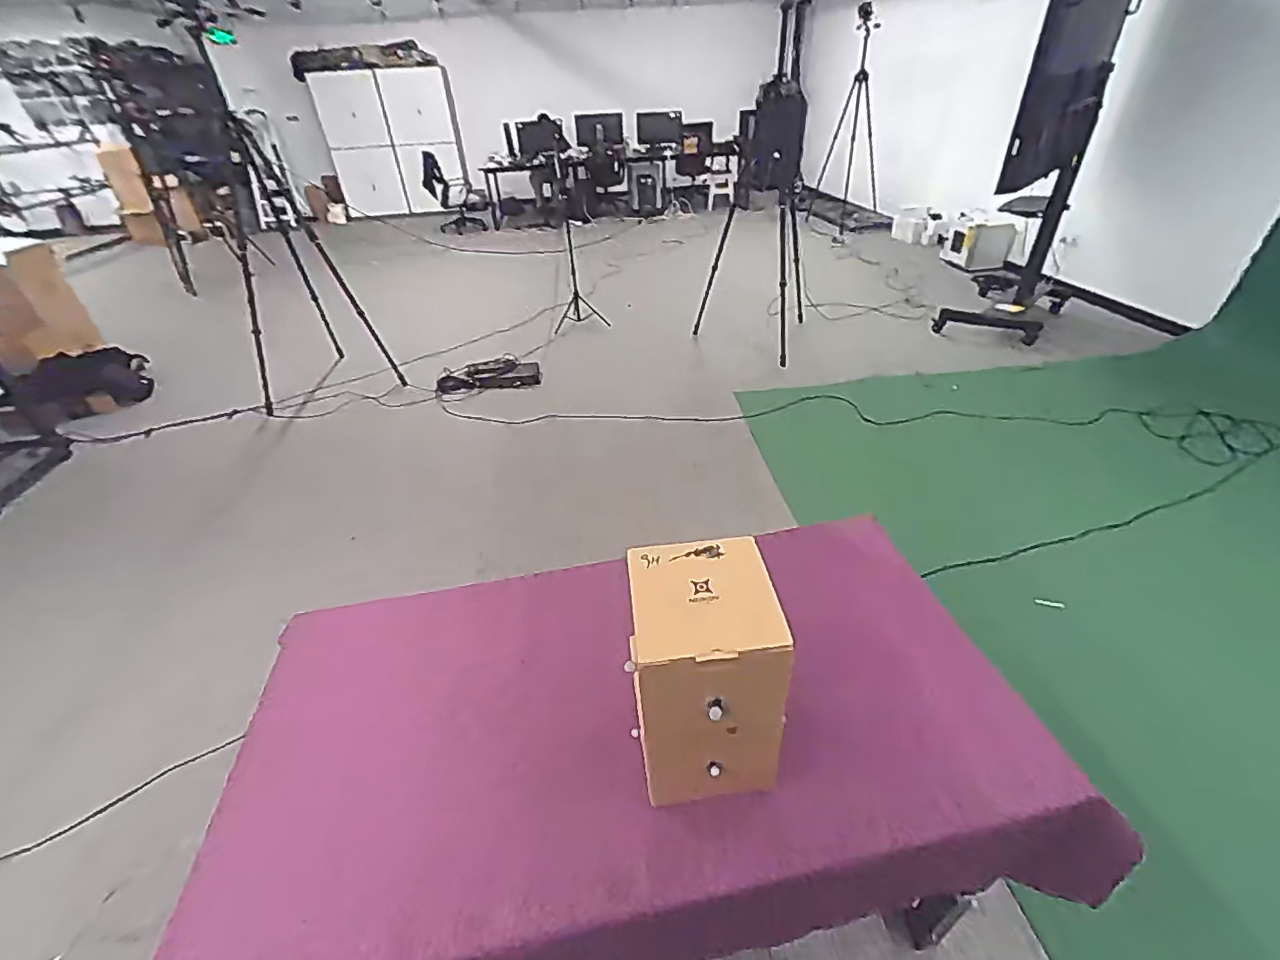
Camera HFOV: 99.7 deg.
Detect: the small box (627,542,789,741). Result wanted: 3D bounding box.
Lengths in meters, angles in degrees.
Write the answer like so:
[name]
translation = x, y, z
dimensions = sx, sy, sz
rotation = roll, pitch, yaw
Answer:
[small box]
translation = 0.075, 0.202, 0.670
dimensions = 0.168, 0.176, 0.179
rotation = -5, 37, -2
